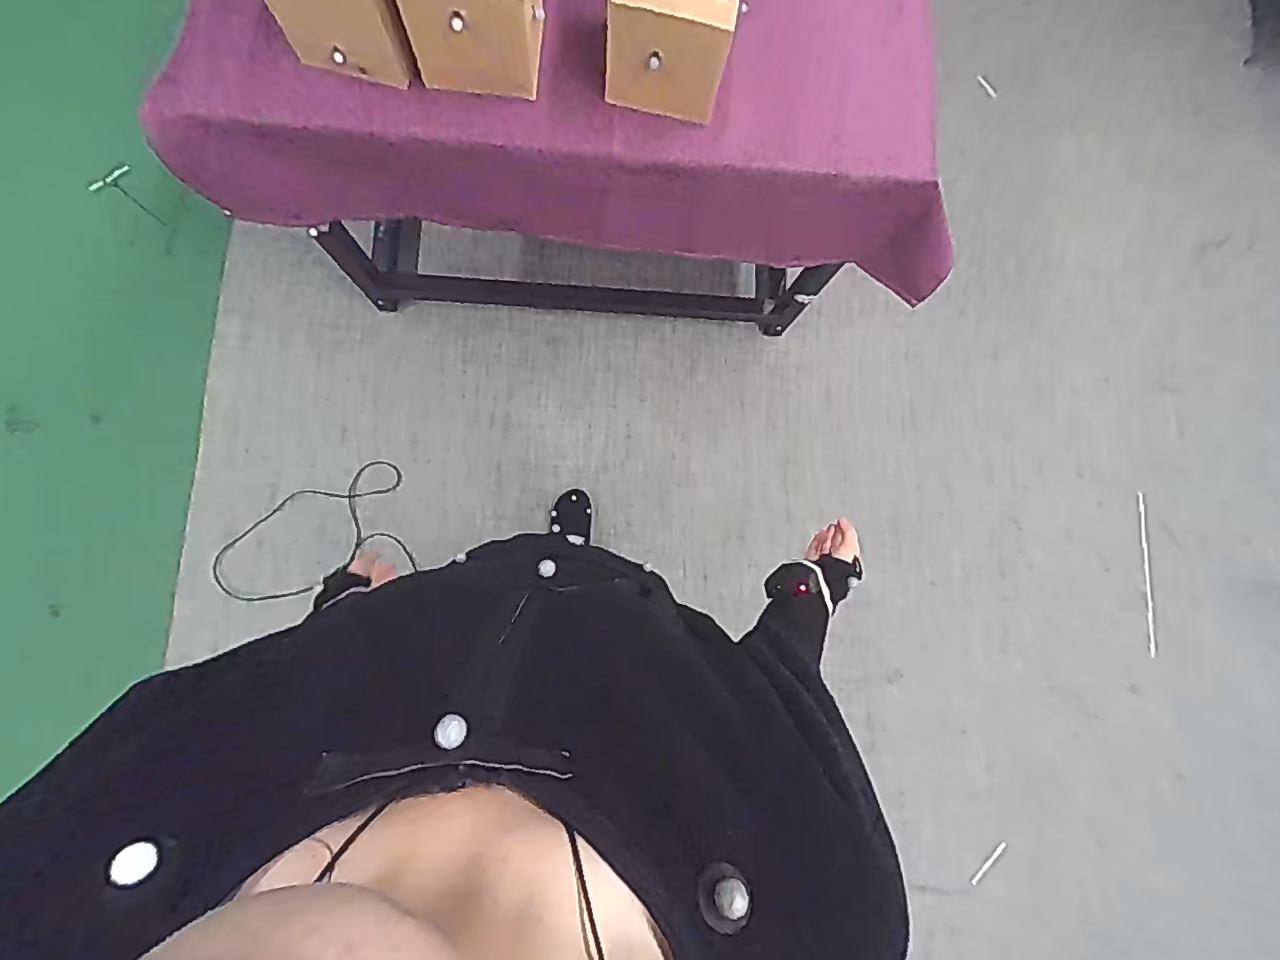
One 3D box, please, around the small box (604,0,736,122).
[{"bbox_3d":[0.044,-0.682,0.812,0.179,0.176,0.168,10,82,-4],"label":"small box"}]
